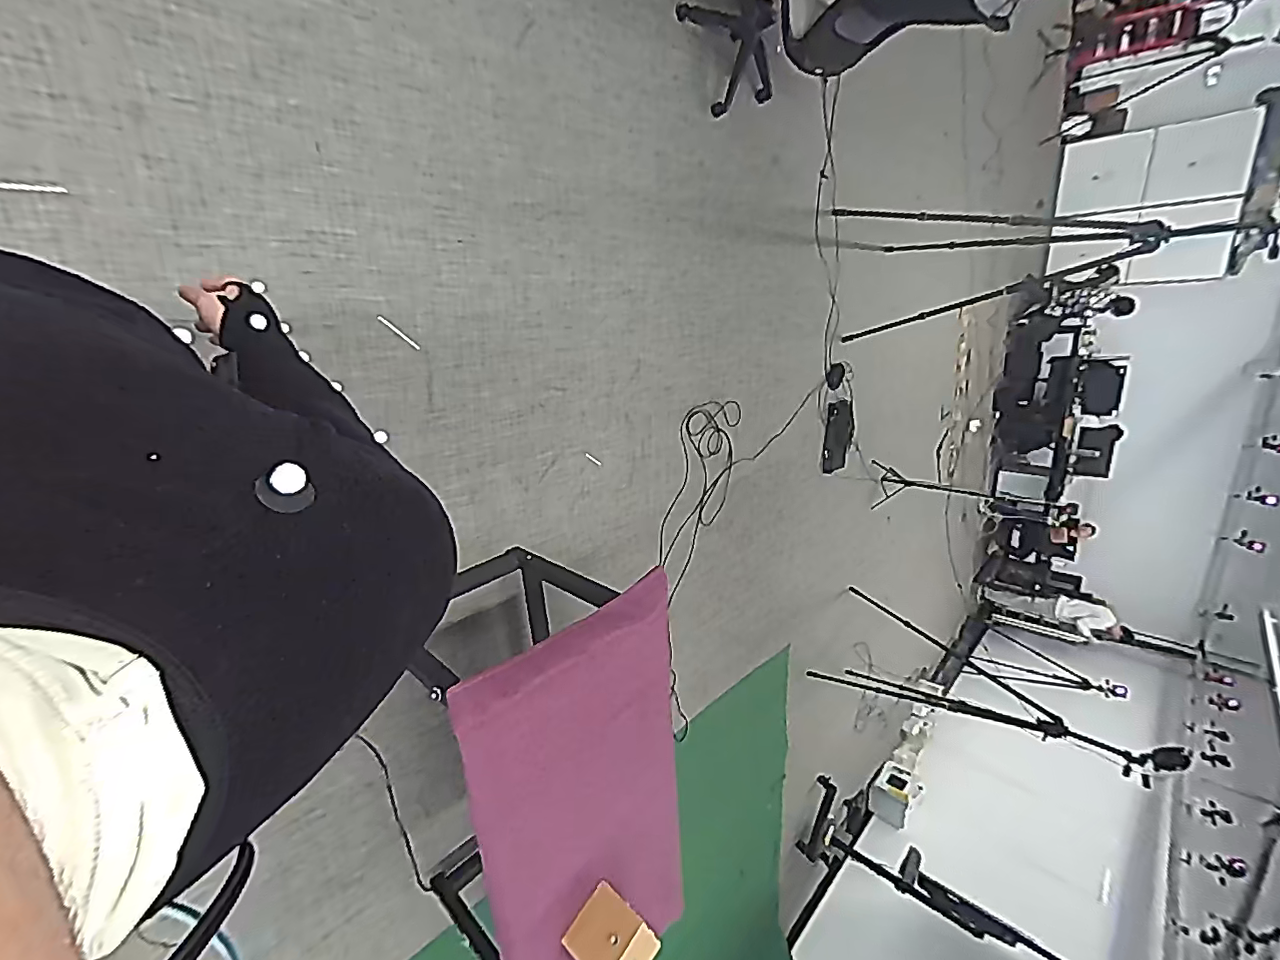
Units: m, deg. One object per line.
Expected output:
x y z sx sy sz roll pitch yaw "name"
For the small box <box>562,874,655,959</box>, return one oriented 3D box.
-0.094 1.256 1.496 0.179 0.176 0.168 -42 127 -31 "small box"
